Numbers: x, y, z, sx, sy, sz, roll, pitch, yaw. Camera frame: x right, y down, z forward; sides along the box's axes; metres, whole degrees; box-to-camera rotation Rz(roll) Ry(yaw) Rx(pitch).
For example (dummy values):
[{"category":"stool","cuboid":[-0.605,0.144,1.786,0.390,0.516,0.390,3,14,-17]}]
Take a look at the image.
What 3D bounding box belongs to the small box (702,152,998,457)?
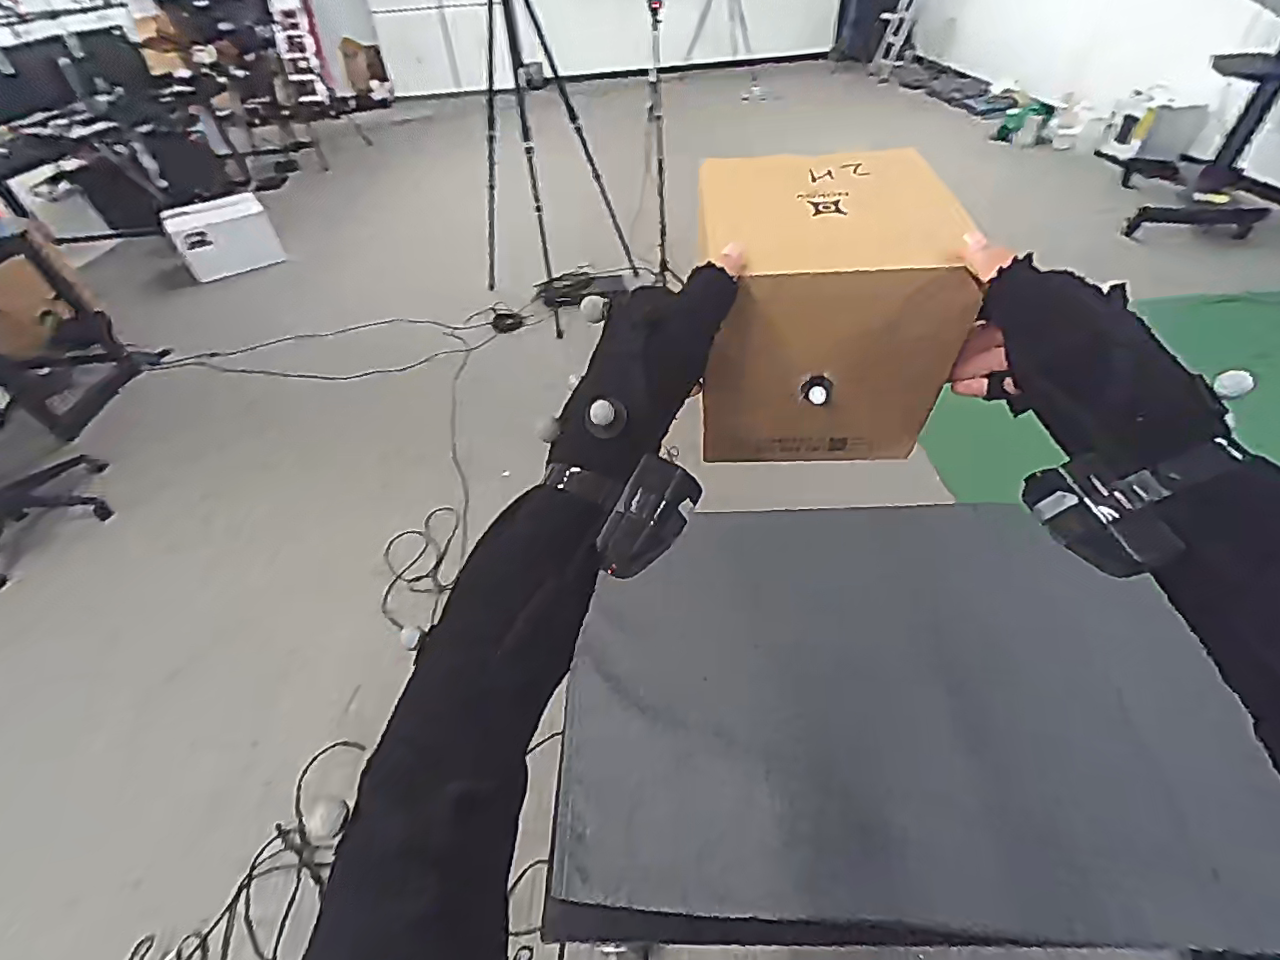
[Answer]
[{"category":"small box","cuboid":[0.135,-0.132,0.428,0.168,0.176,0.179,0,50,5]}]
